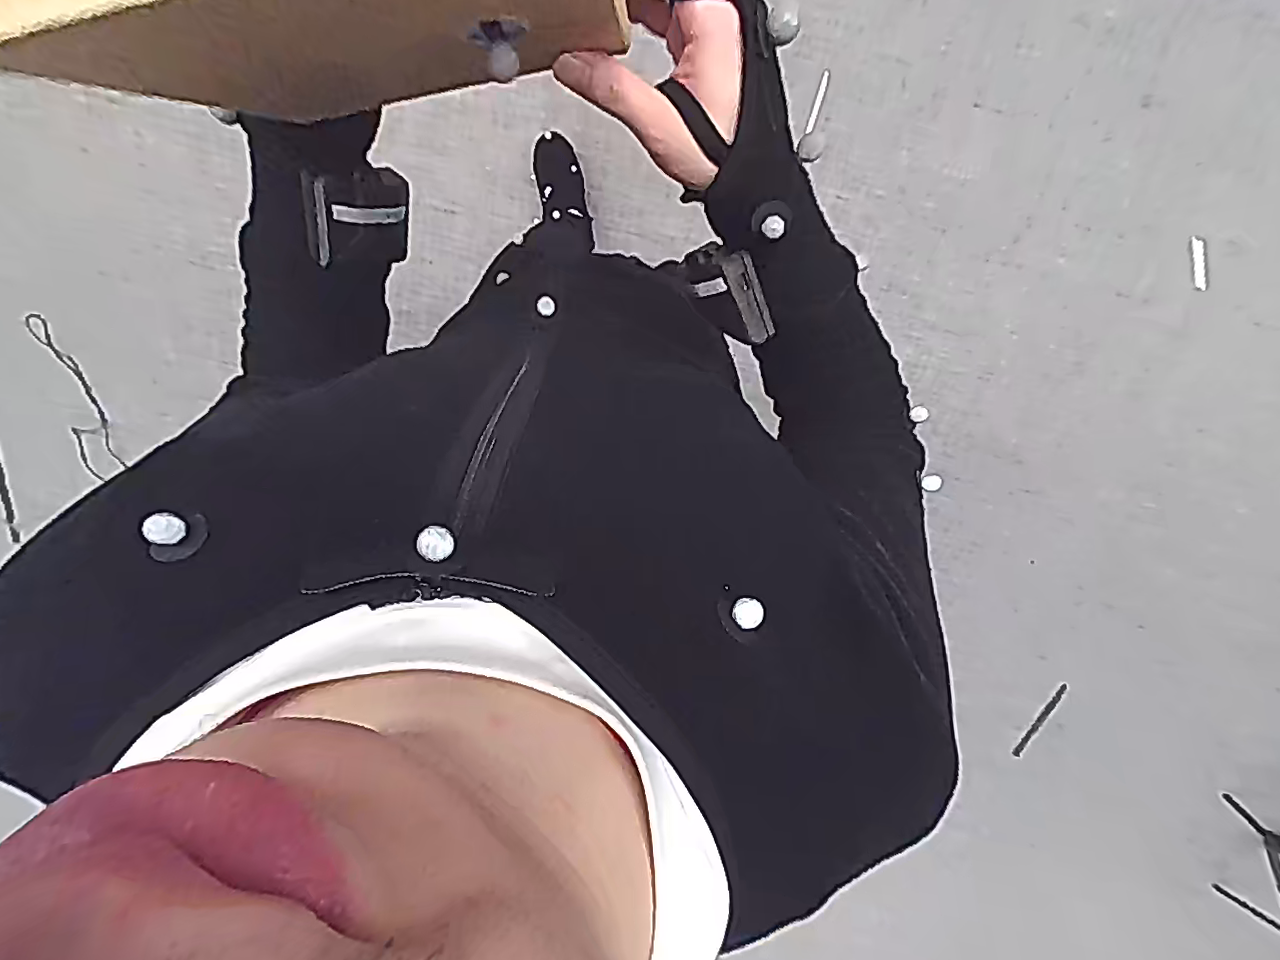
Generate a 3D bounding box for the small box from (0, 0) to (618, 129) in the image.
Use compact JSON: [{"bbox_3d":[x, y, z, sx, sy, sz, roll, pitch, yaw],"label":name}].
[{"bbox_3d":[-0.105,-0.229,0.174,0.179,0.176,0.168,-8,118,7],"label":"small box"}]
